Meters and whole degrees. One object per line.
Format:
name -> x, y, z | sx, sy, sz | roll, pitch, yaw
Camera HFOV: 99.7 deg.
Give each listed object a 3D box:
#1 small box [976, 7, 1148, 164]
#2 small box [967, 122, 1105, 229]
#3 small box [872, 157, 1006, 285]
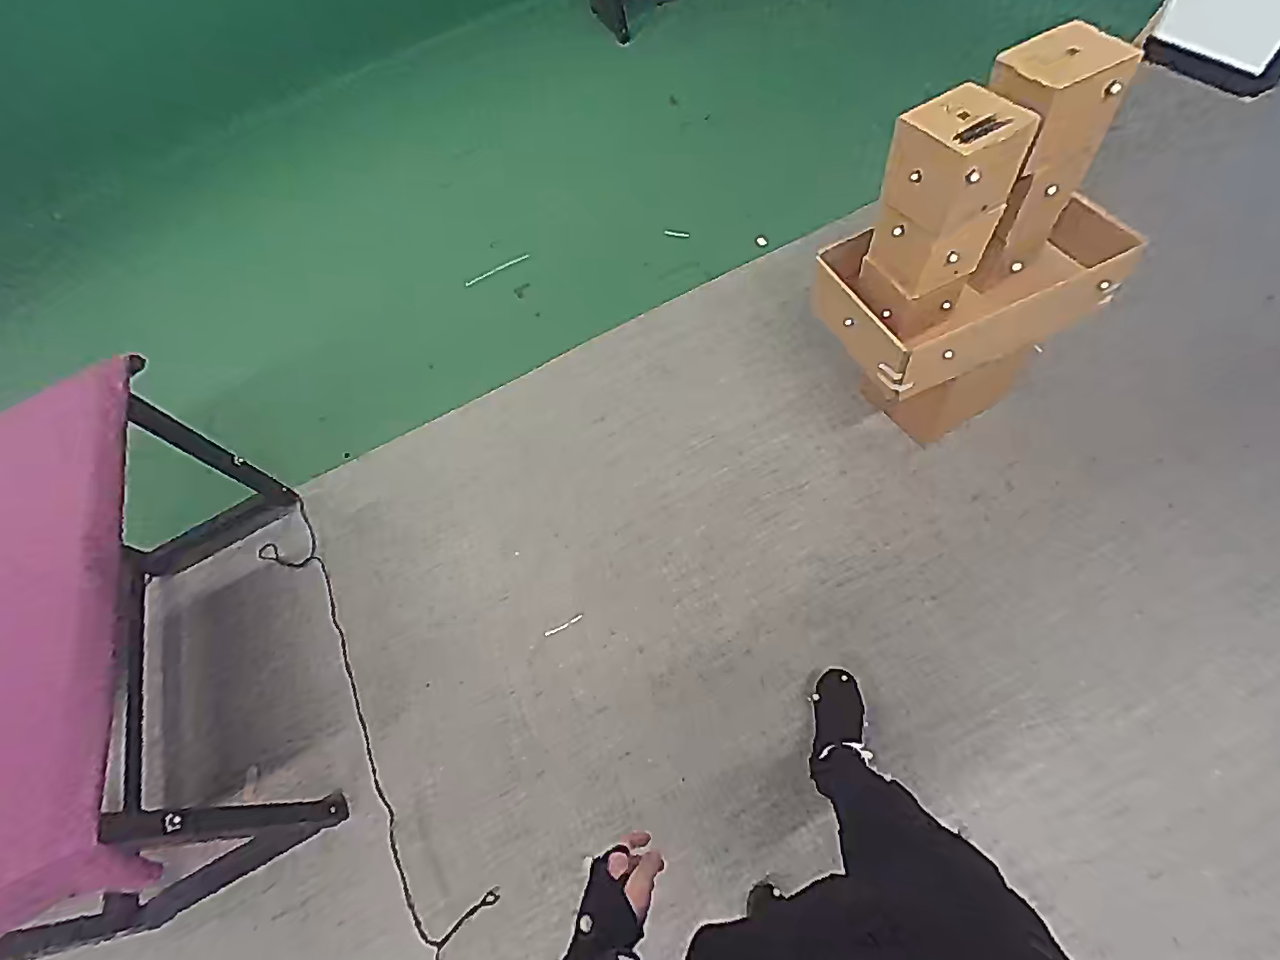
small box -> 0.807, -0.767, 1.060 | 0.179, 0.176, 0.168 | -24, 60, 1
small box -> 0.857, -0.701, 1.205 | 0.179, 0.176, 0.168 | -31, 61, -3
small box -> 0.638, -0.553, 1.179 | 0.168, 0.176, 0.179 | -27, 60, -3
